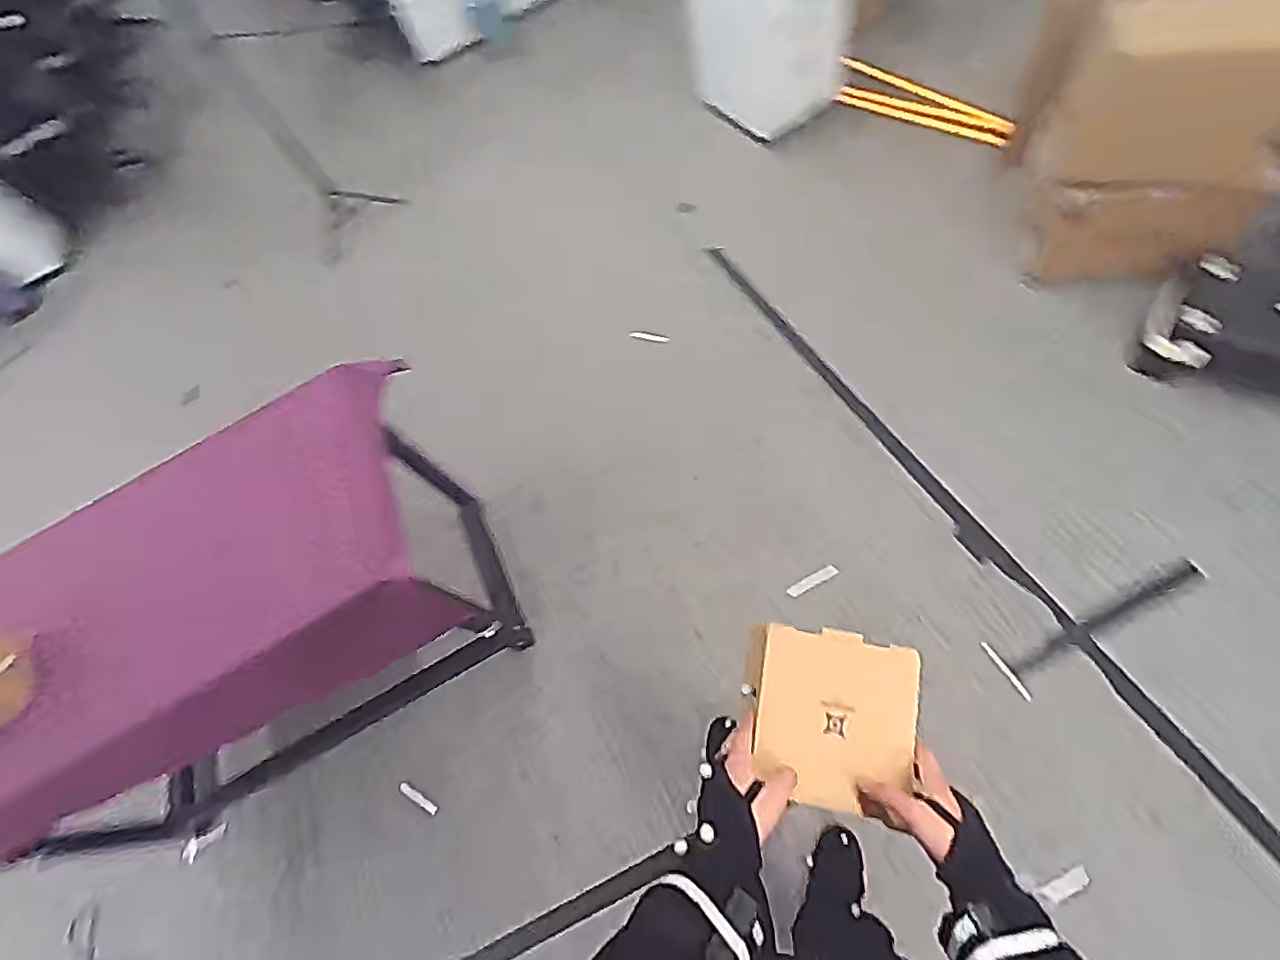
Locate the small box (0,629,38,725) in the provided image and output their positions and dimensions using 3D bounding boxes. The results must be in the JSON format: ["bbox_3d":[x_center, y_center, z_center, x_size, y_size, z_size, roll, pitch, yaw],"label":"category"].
[{"bbox_3d":[-1.314,0.394,1.022,0.179,0.176,0.168,-38,61,-6],"label":"small box"}]

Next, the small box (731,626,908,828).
[{"bbox_3d":[0.204,0.280,0.652,0.168,0.176,0.179,8,74,7],"label":"small box"}]
